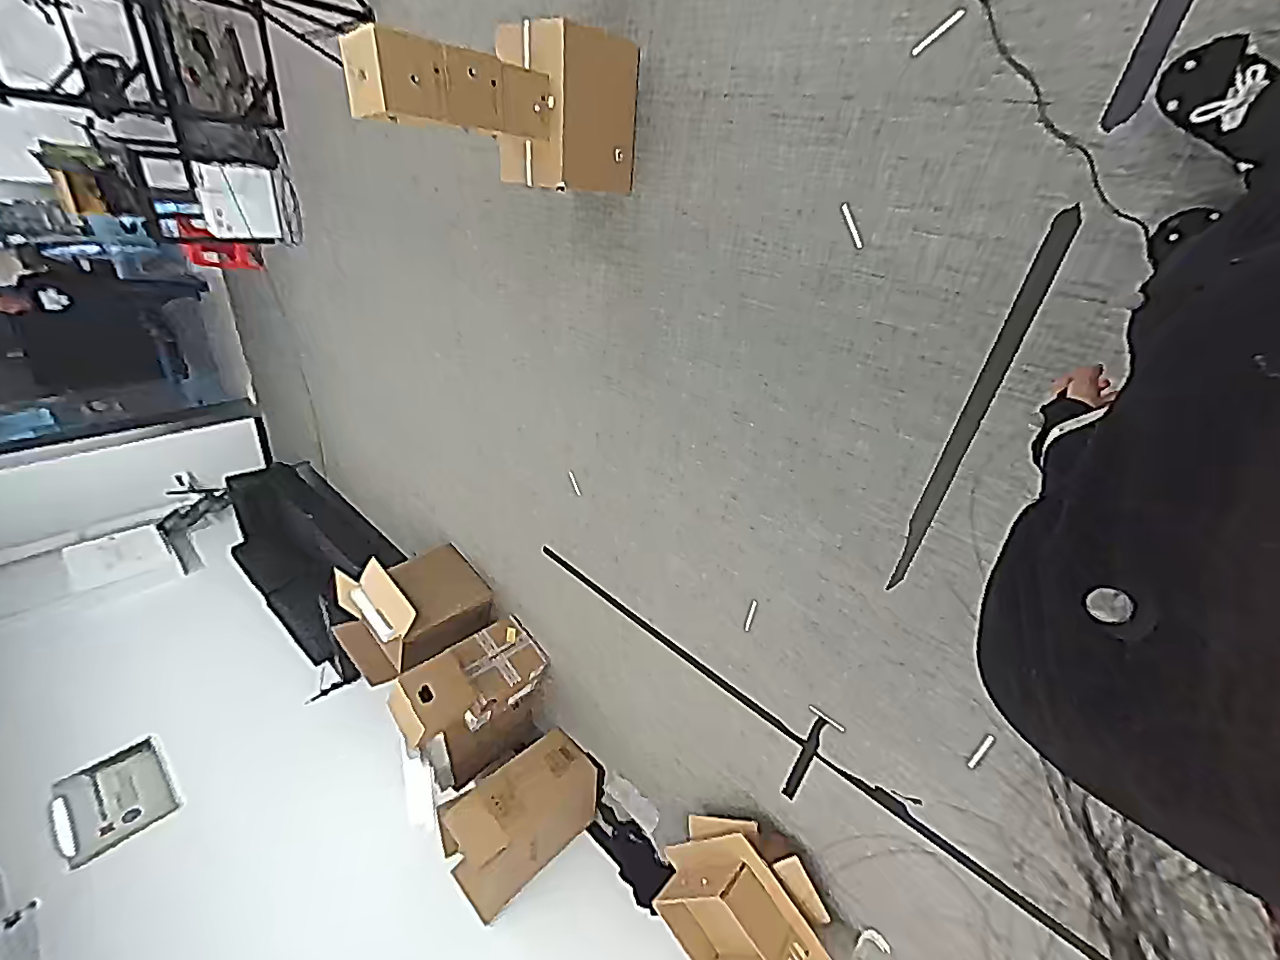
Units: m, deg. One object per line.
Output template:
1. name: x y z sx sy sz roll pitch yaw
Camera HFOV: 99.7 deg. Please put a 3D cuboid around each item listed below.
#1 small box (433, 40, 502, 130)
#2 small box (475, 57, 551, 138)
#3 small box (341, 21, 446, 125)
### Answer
1. small box: -0.477 -1.032 1.422 0.179 0.176 0.168 26 124 35
2. small box: -0.374 -1.081 1.538 0.179 0.176 0.168 26 125 33
3. small box: -0.589 -0.978 1.314 0.179 0.176 0.168 21 121 36
